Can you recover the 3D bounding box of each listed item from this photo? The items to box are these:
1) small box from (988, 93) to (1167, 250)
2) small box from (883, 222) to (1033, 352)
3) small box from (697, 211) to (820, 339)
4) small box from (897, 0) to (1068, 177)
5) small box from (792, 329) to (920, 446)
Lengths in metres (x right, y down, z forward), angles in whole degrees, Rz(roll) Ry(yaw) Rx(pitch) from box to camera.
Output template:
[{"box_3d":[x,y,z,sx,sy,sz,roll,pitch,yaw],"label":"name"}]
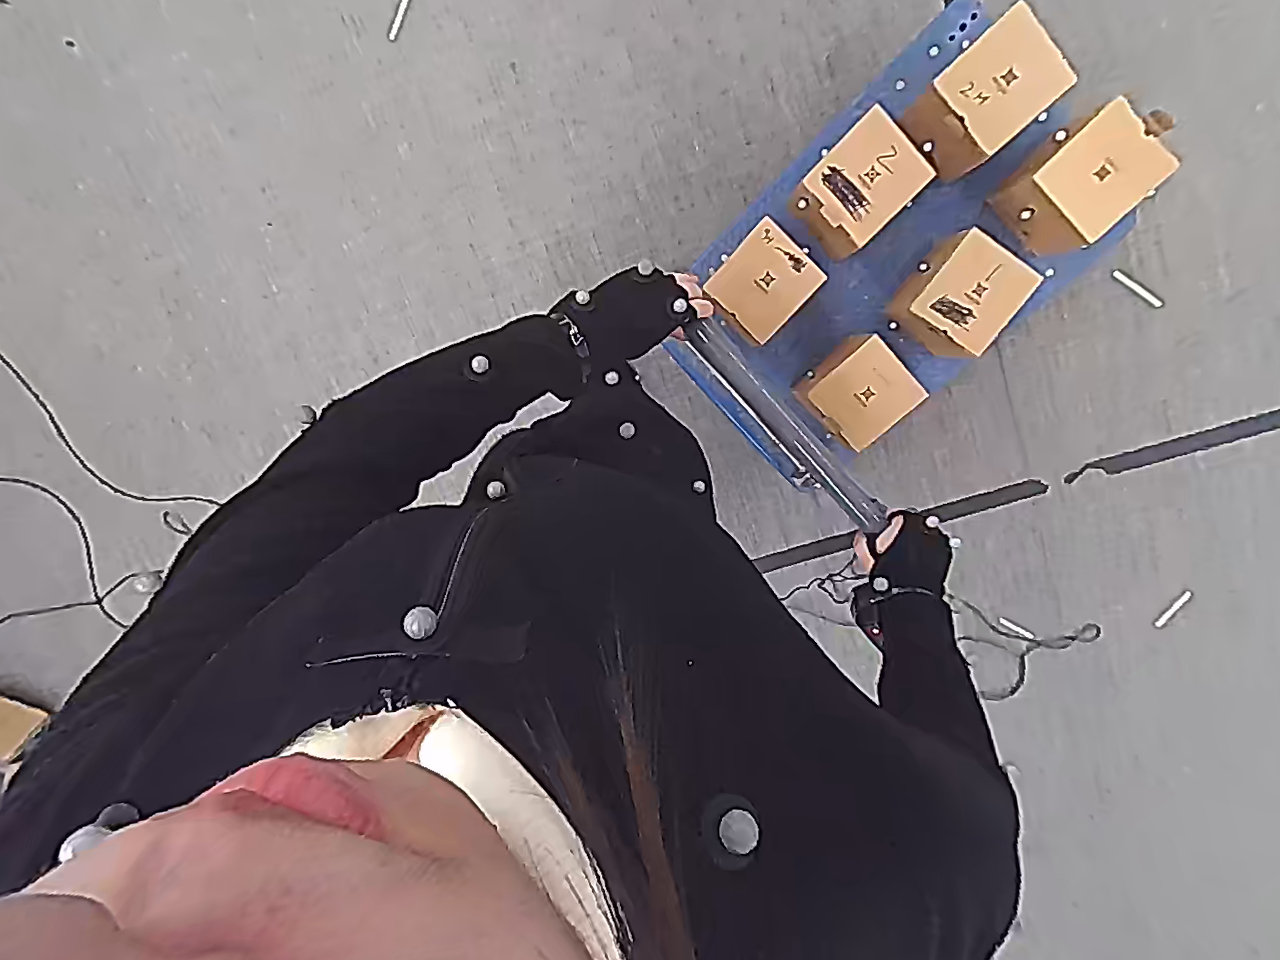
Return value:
[{"box_3d":[0.806,-0.566,1.025,0.168,0.176,0.179,43,104,-6],"label":"small box"},{"box_3d":[0.620,-0.376,1.088,0.168,0.176,0.179,34,103,-4],"label":"small box"},{"box_3d":[0.235,-0.408,1.110,0.168,0.176,0.179,43,104,-7],"label":"small box"},{"box_3d":[0.619,-0.708,1.002,0.179,0.176,0.168,-40,98,14],"label":"small box"},{"box_3d":[0.443,-0.199,1.149,0.179,0.176,0.168,-41,98,12],"label":"small box"}]
